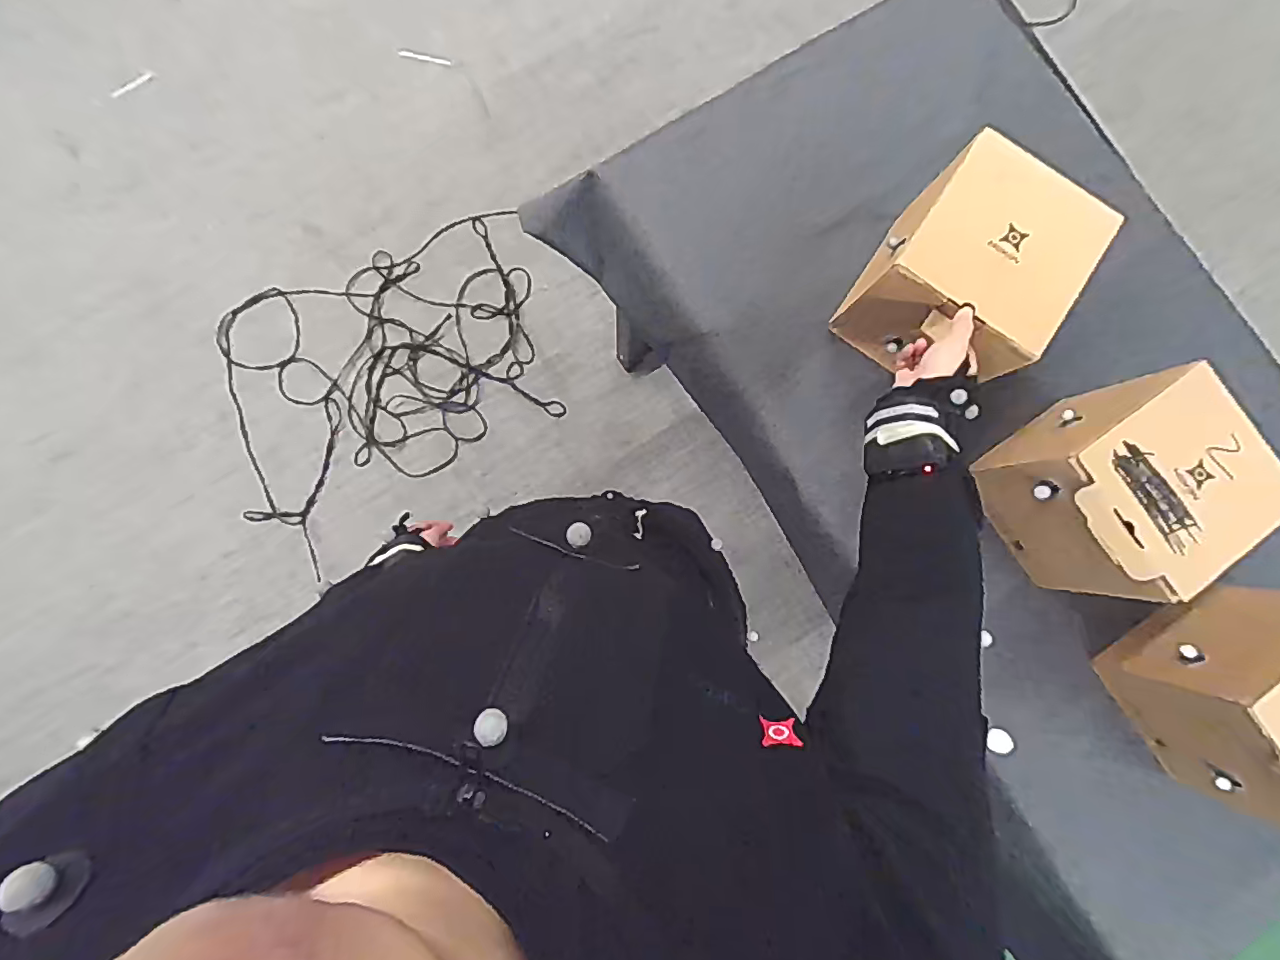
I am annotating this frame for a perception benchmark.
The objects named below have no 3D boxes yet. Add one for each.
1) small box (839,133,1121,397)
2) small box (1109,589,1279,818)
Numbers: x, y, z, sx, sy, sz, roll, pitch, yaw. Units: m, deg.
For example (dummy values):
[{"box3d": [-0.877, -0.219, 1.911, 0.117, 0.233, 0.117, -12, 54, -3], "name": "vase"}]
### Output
[{"box3d": [0.354, -0.219, 0.599, 0.168, 0.176, 0.179, 34, 85, 0], "name": "small box"}, {"box3d": [0.660, 0.235, 0.574, 0.179, 0.176, 0.168, -34, 88, -6], "name": "small box"}]
